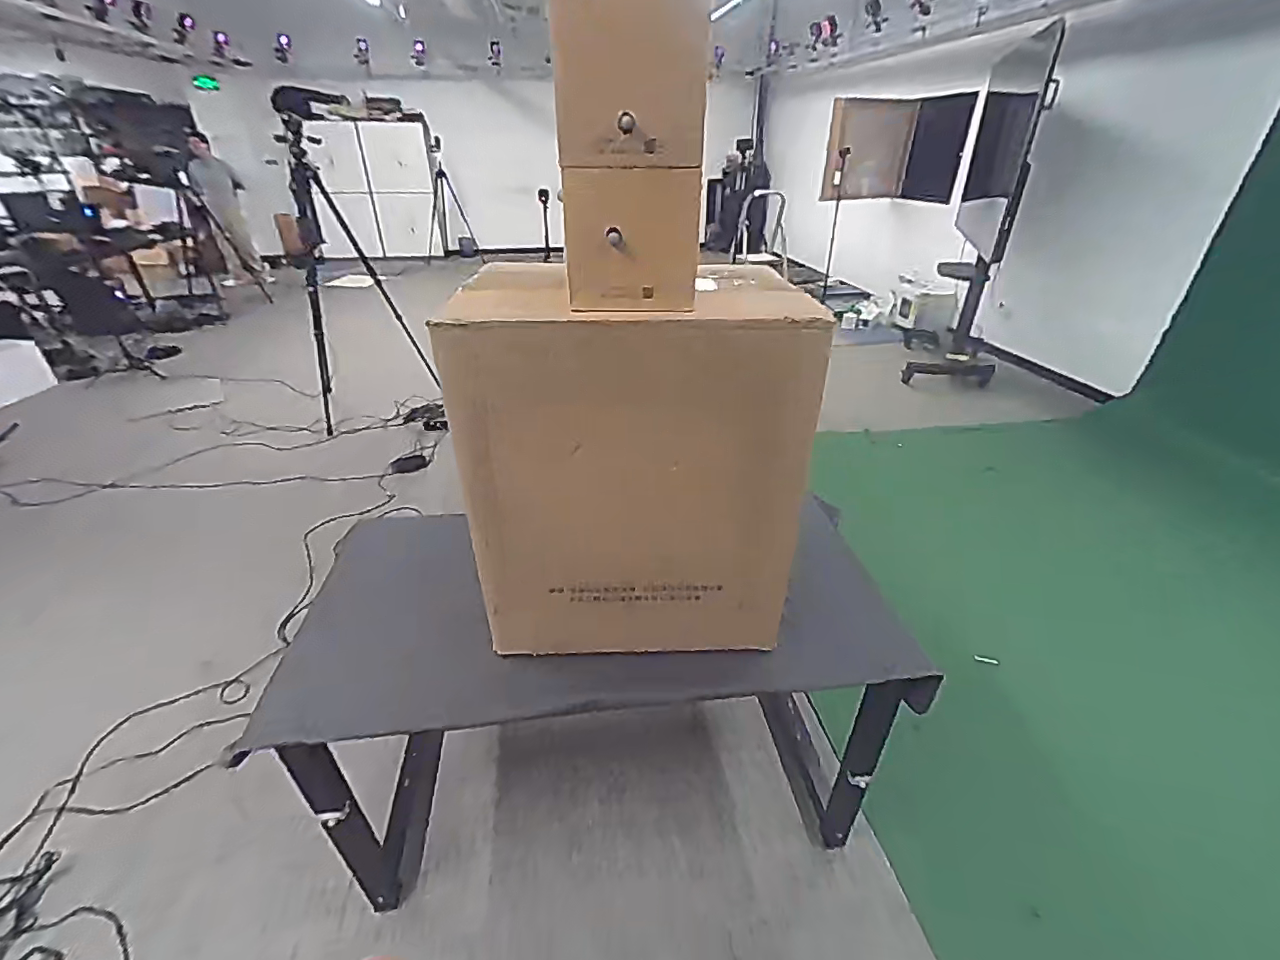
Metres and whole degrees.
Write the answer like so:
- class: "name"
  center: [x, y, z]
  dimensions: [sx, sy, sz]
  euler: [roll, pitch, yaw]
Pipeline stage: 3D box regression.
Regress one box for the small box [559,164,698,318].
- class: "small box"
  center: [-0.012, -0.325, 0.734]
  dimensions: [0.168, 0.176, 0.179]
  euler: [0, 33, 0]
